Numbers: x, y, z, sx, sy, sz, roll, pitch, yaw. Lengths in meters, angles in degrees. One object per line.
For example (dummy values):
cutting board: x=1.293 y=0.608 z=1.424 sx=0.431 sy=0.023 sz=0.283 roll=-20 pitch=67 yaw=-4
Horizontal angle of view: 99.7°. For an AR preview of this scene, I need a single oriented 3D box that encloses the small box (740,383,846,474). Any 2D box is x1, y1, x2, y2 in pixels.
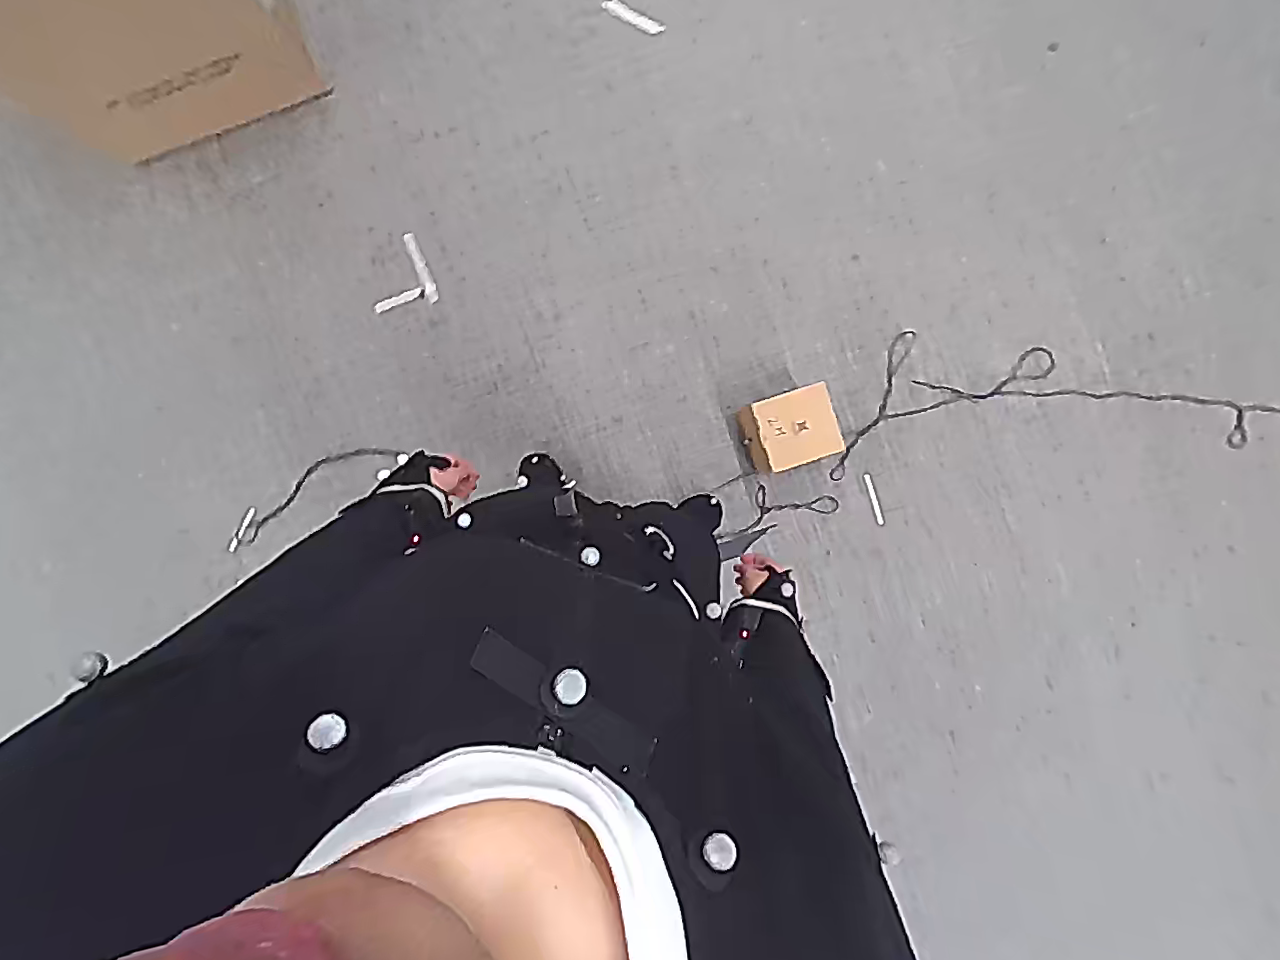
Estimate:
small box: x=0.355 y=-0.120 z=1.283 sx=0.179 sy=0.176 sz=0.168 roll=-18 pitch=92 yaw=0
